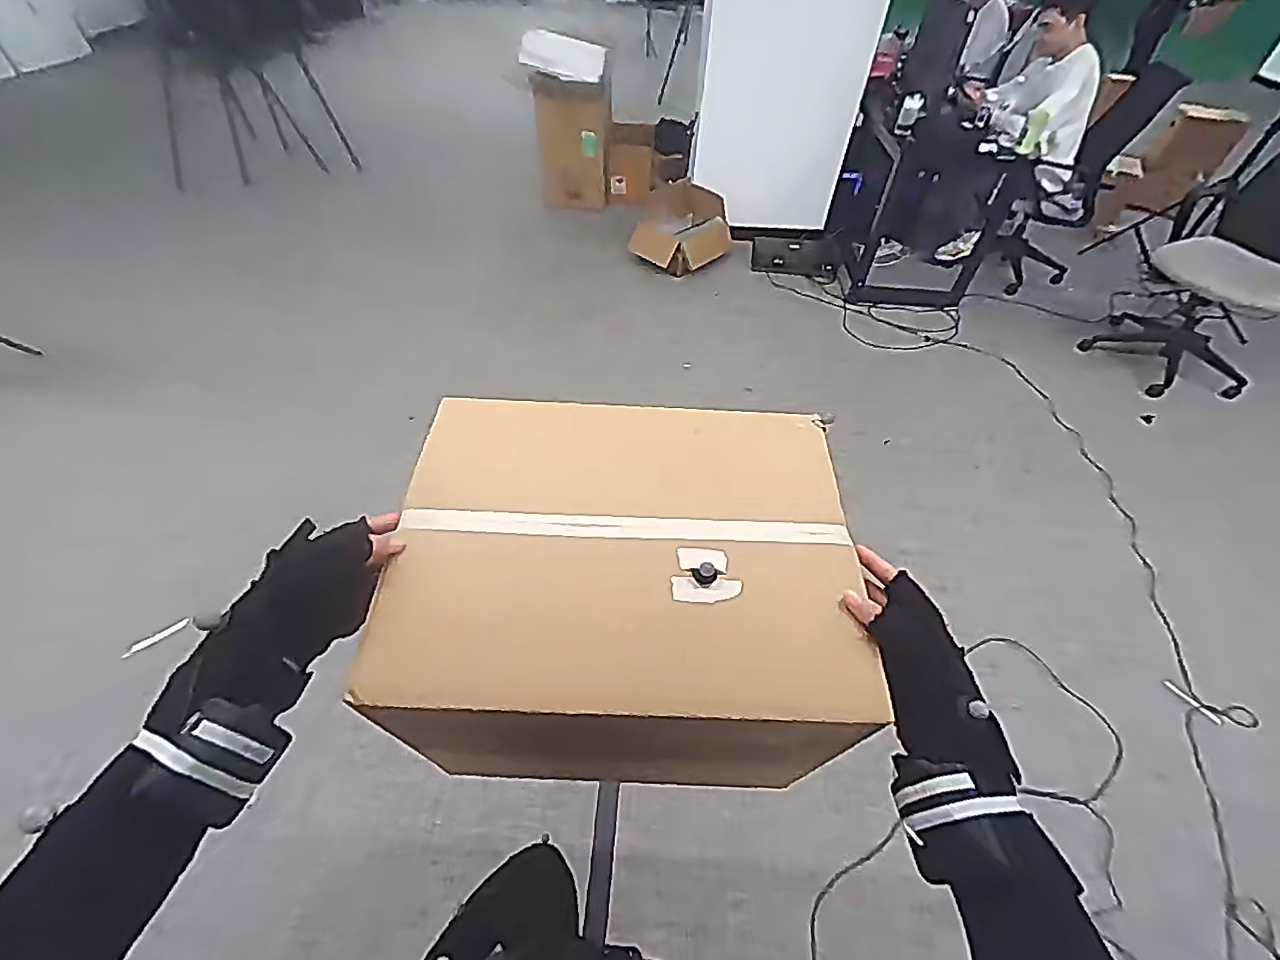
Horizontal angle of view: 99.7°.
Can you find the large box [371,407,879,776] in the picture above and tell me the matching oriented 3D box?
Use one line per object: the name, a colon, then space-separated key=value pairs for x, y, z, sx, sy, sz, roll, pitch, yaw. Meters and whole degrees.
large box: x=-0.015 y=0.140 z=0.622 sx=0.408 sy=0.320 sz=0.320 roll=3 pitch=53 yaw=-1
